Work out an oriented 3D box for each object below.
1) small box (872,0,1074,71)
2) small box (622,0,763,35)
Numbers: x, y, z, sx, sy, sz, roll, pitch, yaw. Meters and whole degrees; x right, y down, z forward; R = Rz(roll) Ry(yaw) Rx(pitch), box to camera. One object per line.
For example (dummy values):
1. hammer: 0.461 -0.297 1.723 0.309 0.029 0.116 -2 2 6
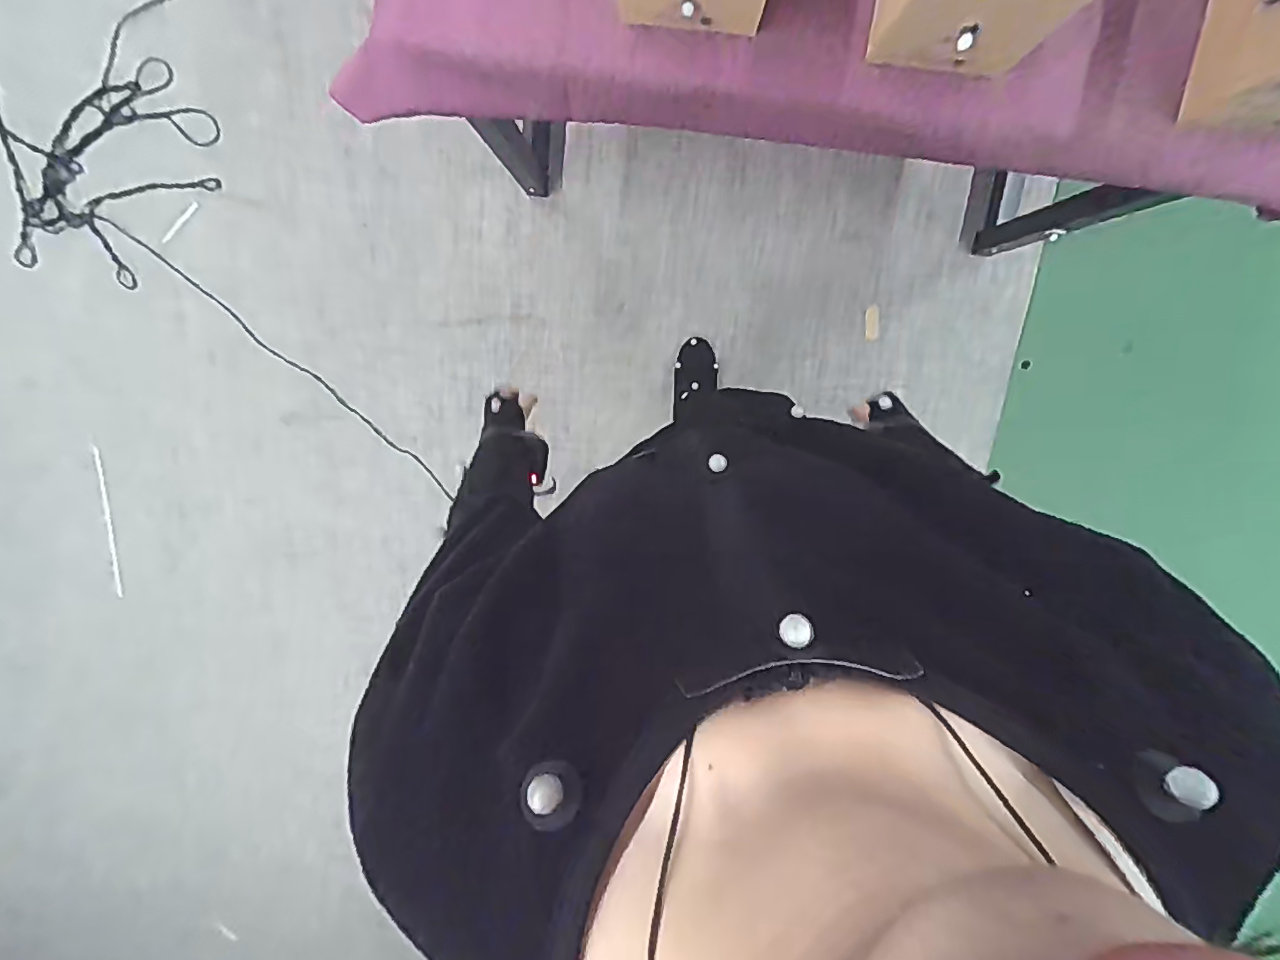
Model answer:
1. small box: 0.358 -0.559 0.551 0.168 0.176 0.179 7 102 0
2. small box: 0.063 -0.608 0.548 0.168 0.176 0.179 7 102 1
